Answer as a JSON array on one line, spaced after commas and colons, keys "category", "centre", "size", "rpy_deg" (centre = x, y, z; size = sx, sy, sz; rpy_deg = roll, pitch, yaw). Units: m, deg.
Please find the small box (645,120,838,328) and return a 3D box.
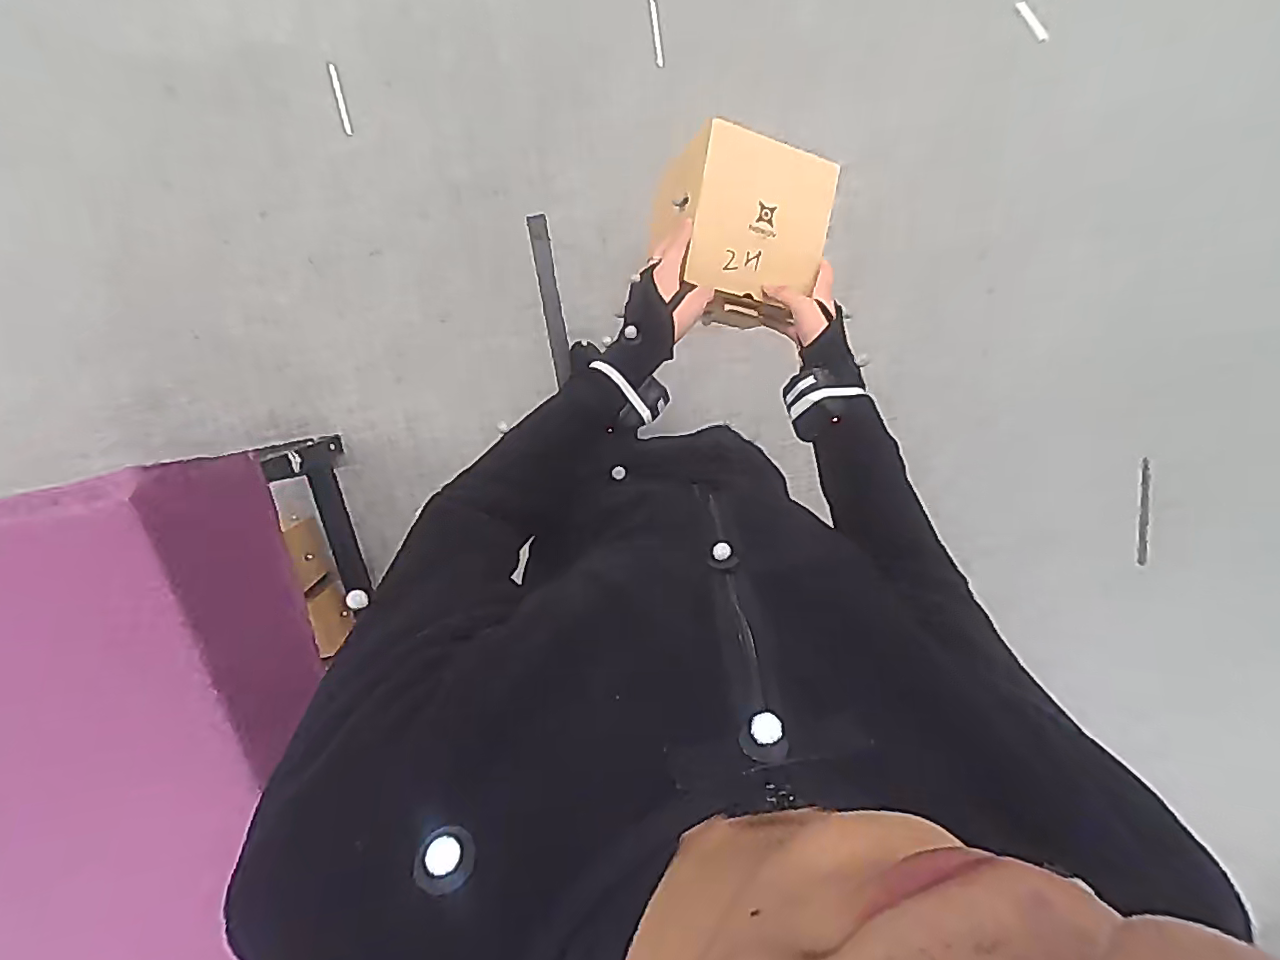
[{"category": "small box", "centre": [0.115, -0.303, 0.685], "size": [0.168, 0.176, 0.179], "rpy_deg": [9, 98, -17]}]
